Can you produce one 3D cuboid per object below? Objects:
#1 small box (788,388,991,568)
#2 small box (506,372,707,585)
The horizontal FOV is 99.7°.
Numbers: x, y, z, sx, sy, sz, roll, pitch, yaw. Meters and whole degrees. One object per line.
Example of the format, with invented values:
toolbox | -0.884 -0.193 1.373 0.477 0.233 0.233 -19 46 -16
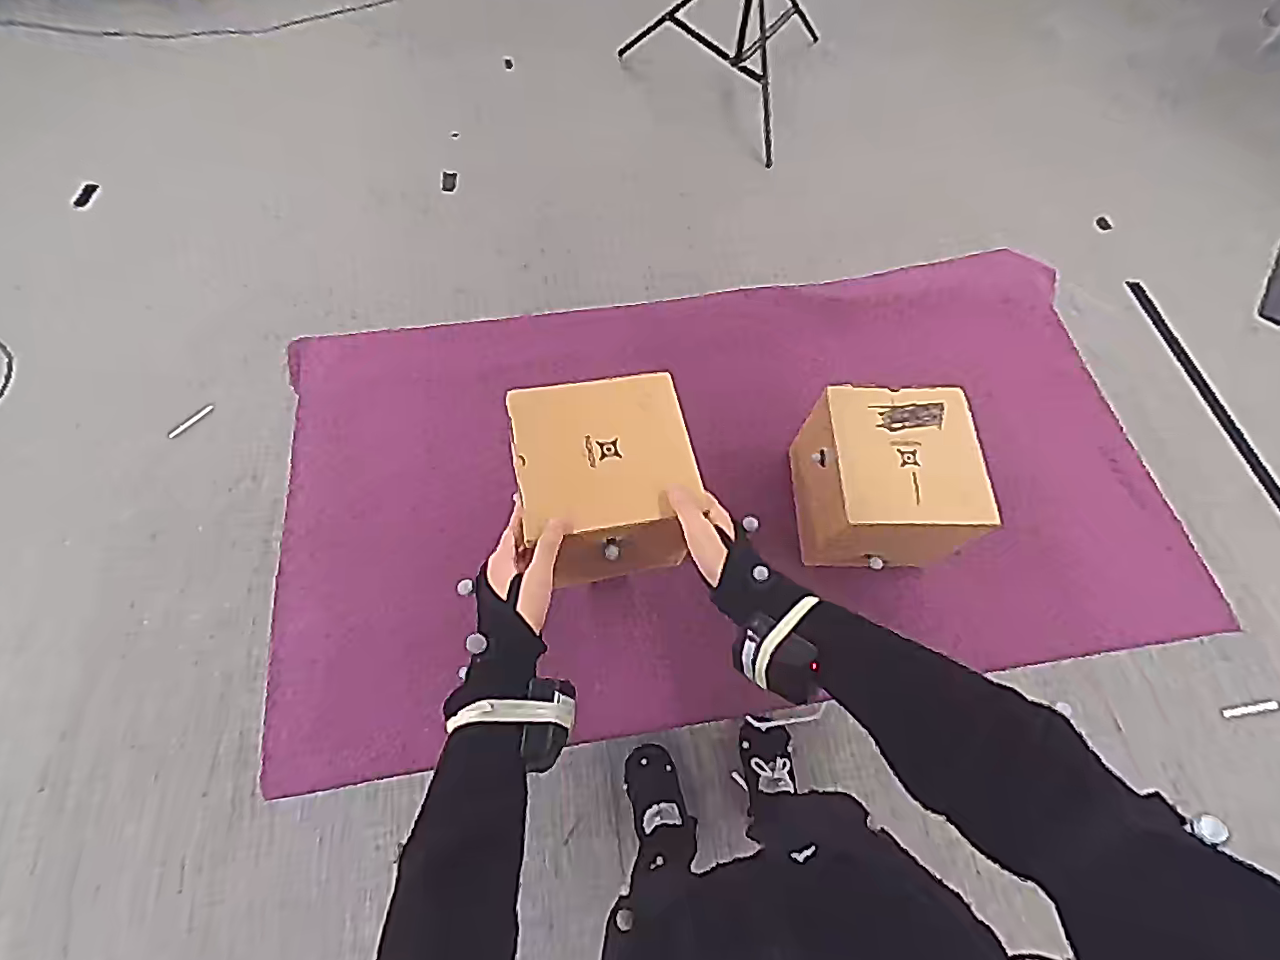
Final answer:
small box | 0.293 0.003 0.683 0.168 0.176 0.179 1 66 -1
small box | -0.043 0.004 0.600 0.179 0.176 0.168 -10 65 -10
